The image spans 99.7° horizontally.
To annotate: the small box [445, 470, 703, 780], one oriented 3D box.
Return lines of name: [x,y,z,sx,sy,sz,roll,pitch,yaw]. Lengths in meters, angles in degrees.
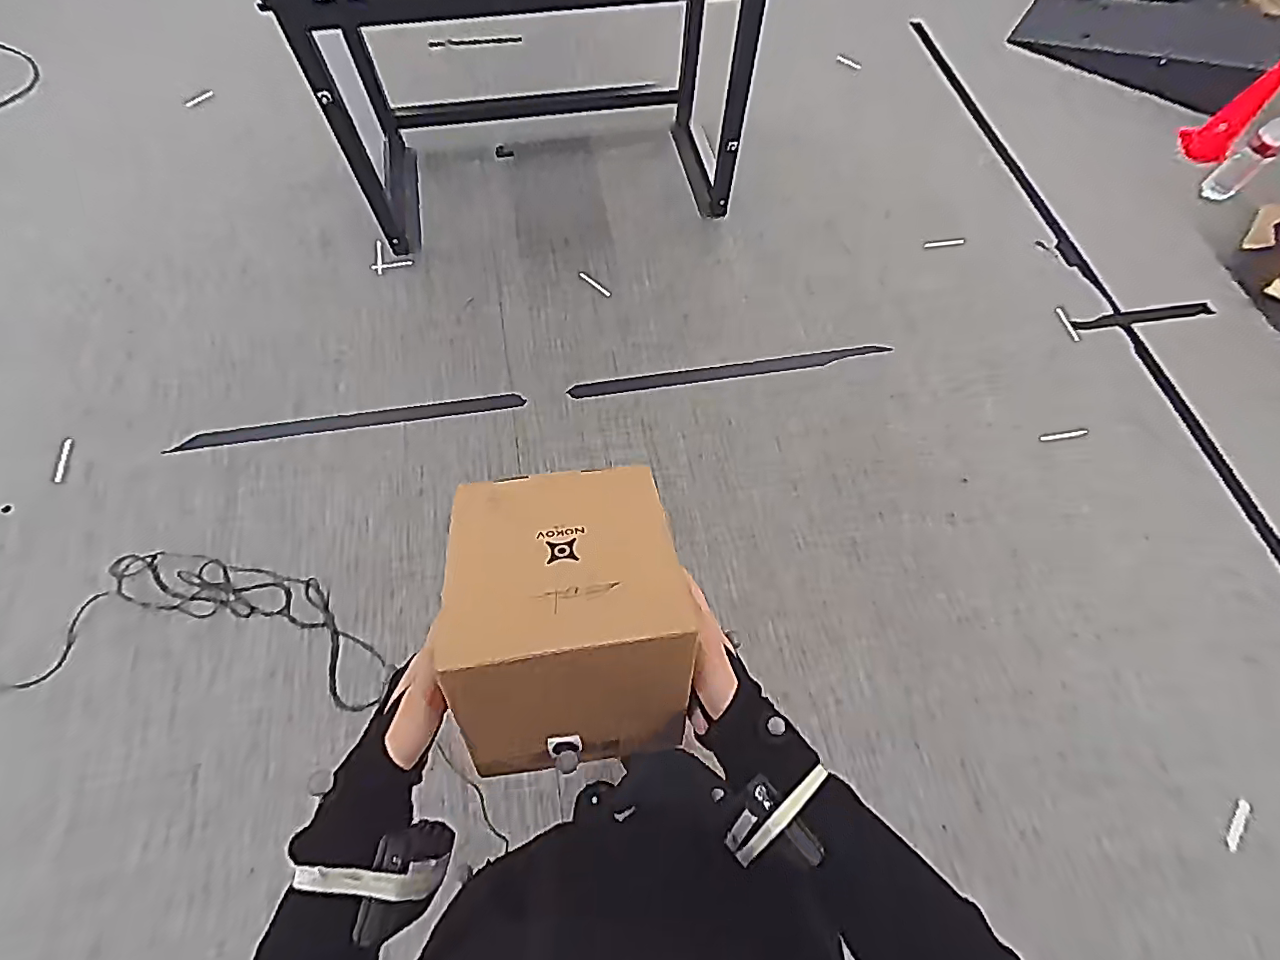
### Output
small box: [-0.055,0.116,0.453,0.168,0.176,0.179,-7,41,-9]
